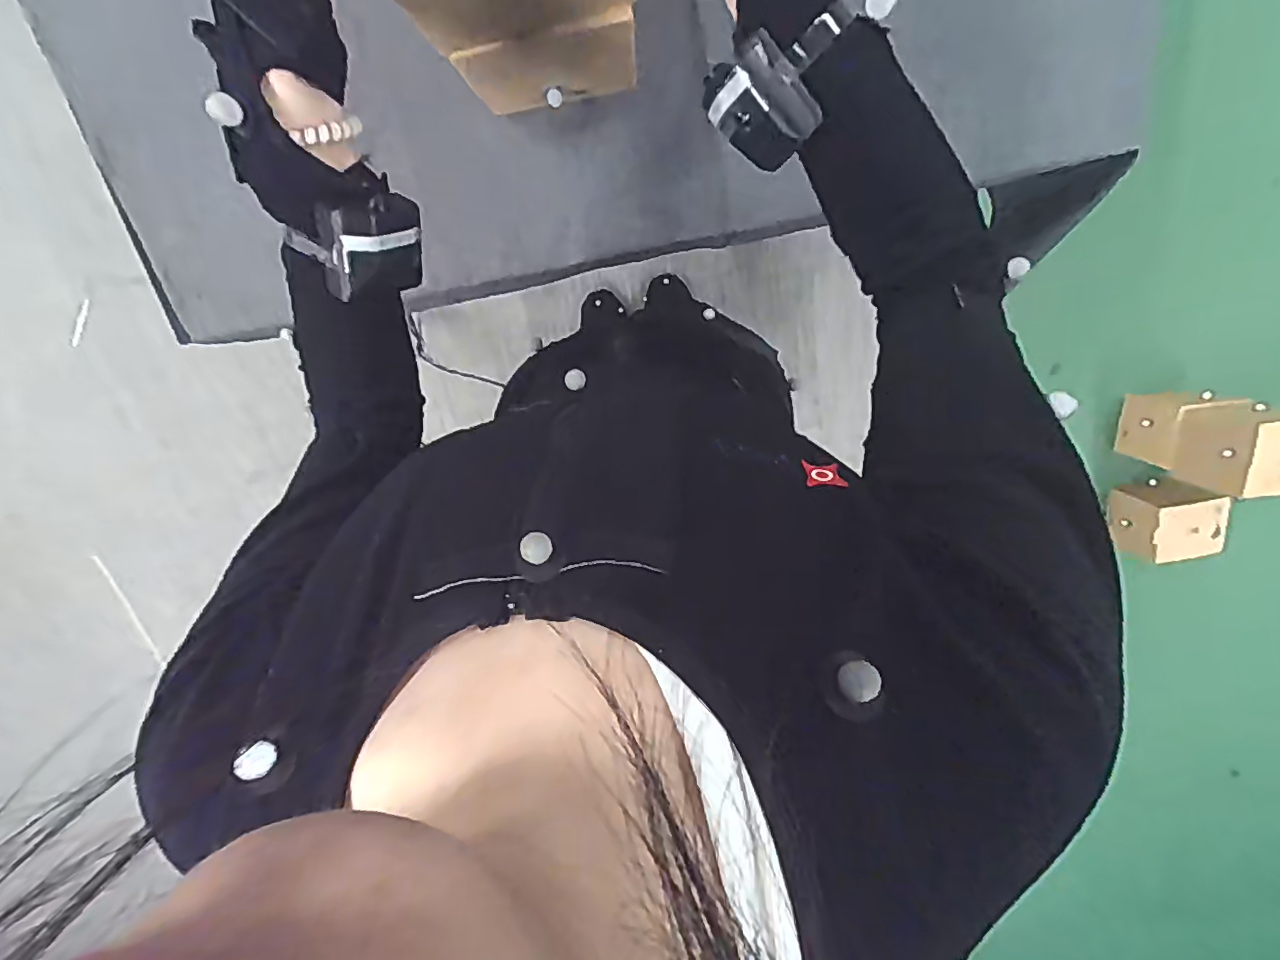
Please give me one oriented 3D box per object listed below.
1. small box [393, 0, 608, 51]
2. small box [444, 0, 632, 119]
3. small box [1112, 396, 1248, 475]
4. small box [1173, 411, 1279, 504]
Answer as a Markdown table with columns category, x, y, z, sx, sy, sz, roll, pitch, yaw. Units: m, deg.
| category | x | y | z | sx | sy | sz | roll | pitch | yaw |
| --- | --- | --- | --- | --- | --- | --- | --- | --- | --- |
| small box | -0.108 | -0.431 | 0.357 | 0.179 | 0.176 | 0.168 | -11 | 107 | 4 |
| small box | -0.102 | -0.480 | 0.513 | 0.168 | 0.176 | 0.179 | -9 | 109 | 3 |
| small box | 1.389 | -0.119 | 1.406 | 0.179 | 0.176 | 0.168 | -5 | 108 | 1 |
| small box | 1.401 | -0.059 | 1.251 | 0.168 | 0.176 | 0.179 | -6 | 108 | 2 |
